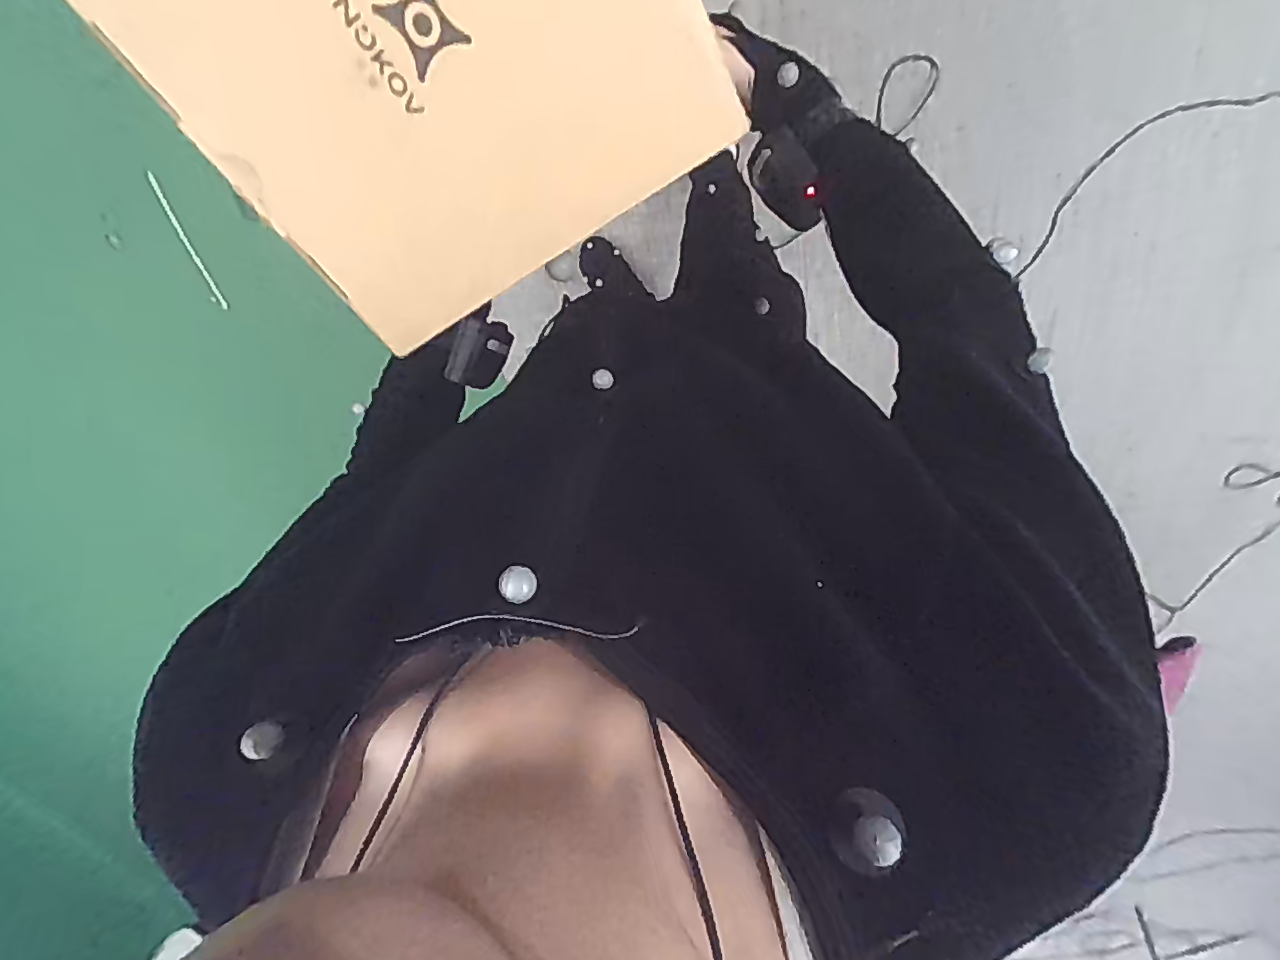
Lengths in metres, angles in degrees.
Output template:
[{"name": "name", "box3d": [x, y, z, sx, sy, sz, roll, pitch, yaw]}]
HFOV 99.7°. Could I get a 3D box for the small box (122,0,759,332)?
[{"name": "small box", "box3d": [-0.072, -0.205, 0.244, 0.179, 0.176, 0.168, -25, 124, 16]}]
